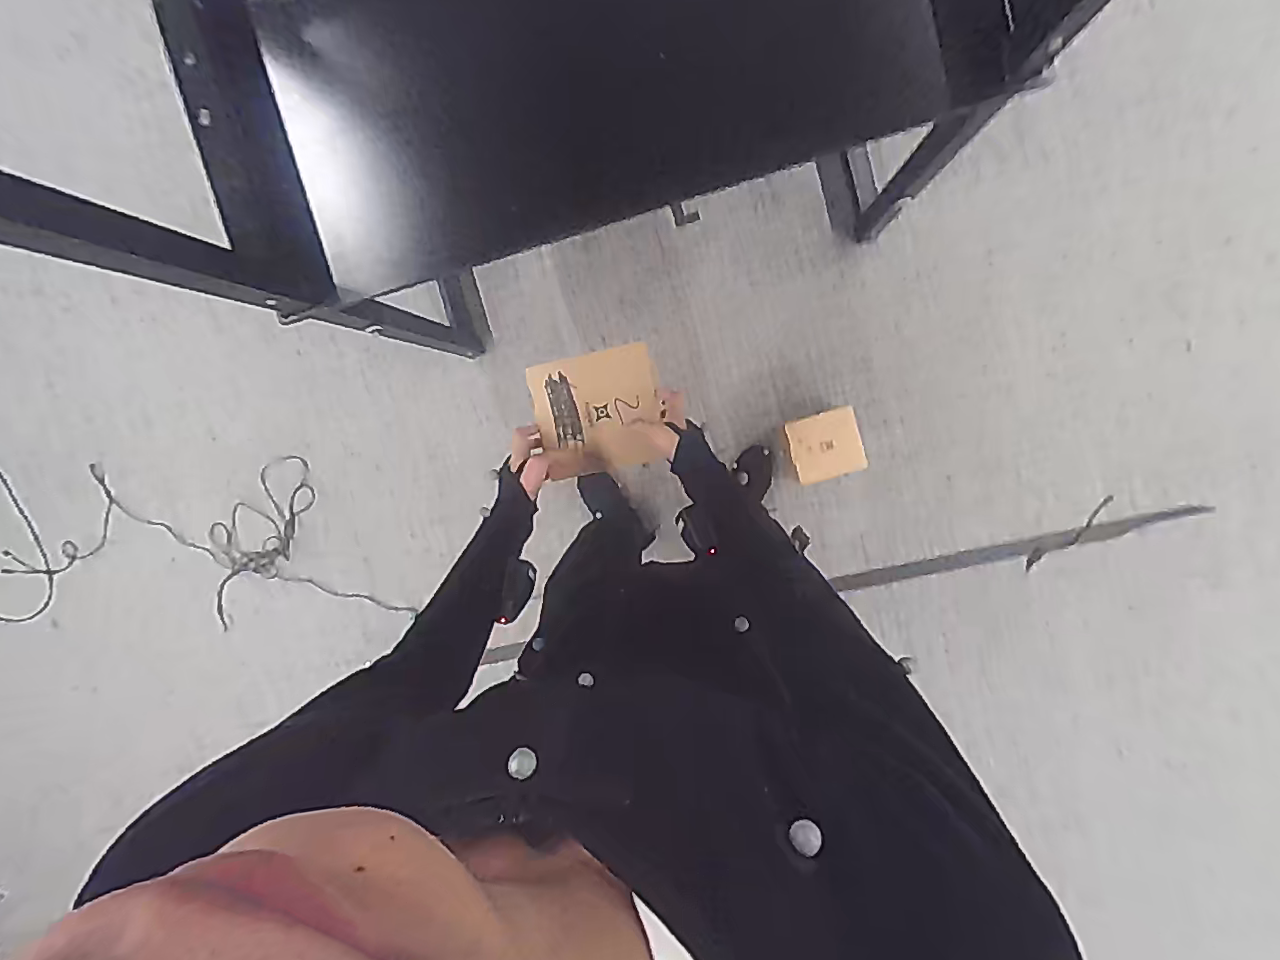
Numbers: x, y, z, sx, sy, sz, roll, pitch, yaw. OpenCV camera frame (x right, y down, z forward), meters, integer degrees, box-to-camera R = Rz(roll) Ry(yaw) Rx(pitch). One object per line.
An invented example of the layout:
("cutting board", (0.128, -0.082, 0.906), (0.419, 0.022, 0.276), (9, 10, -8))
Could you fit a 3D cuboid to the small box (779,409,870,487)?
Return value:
("small box", (0.487, -0.091, 1.446), (0.179, 0.176, 0.168), (-16, 94, 9))
